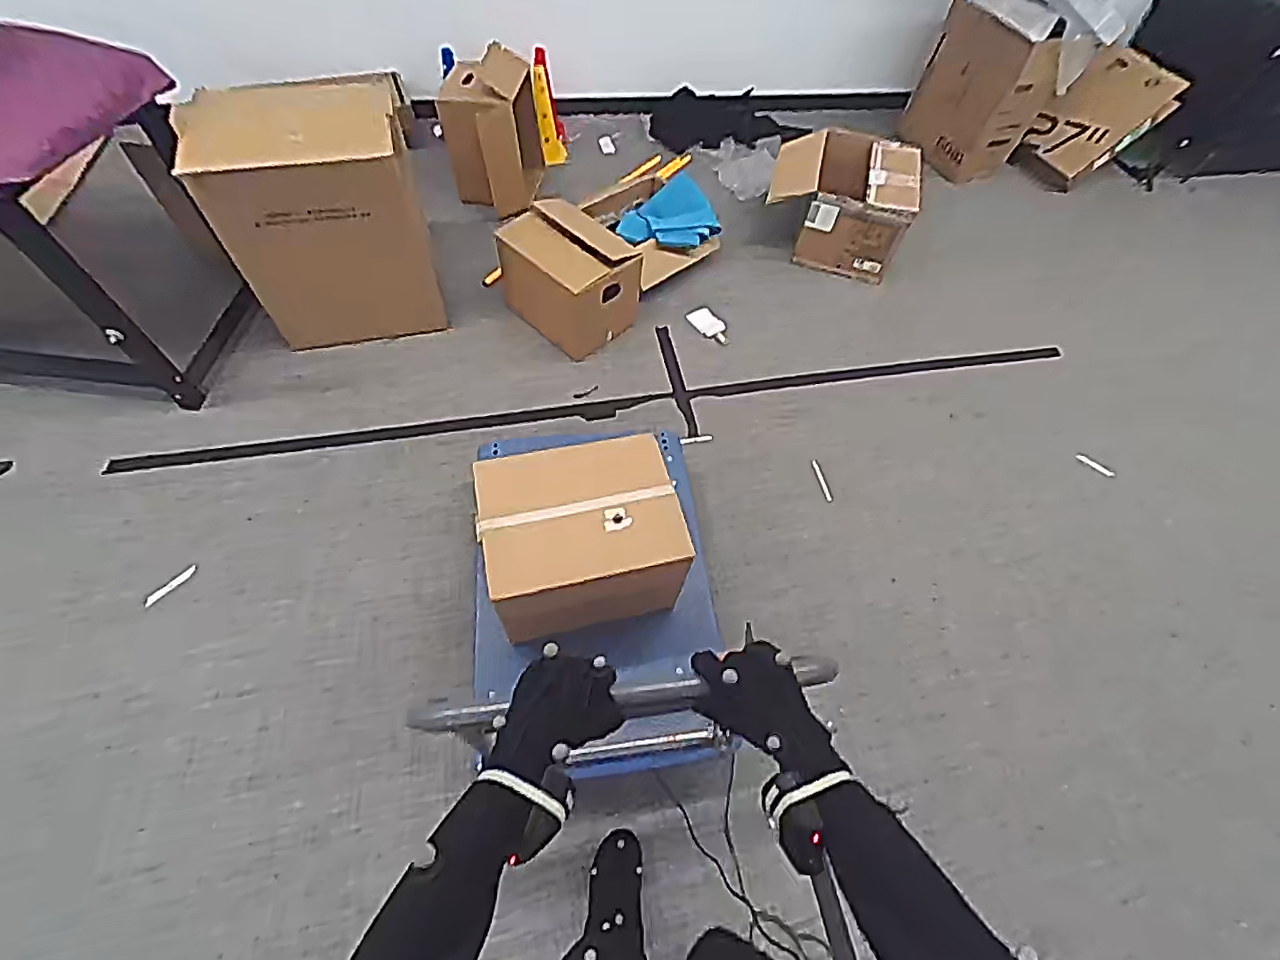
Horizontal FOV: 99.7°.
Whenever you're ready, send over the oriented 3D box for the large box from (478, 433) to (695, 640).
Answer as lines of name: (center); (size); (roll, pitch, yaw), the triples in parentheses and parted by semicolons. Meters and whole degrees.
large box: (-0.130, 0.135, 1.241); (0.408, 0.320, 0.320); (-10, 61, -12)
